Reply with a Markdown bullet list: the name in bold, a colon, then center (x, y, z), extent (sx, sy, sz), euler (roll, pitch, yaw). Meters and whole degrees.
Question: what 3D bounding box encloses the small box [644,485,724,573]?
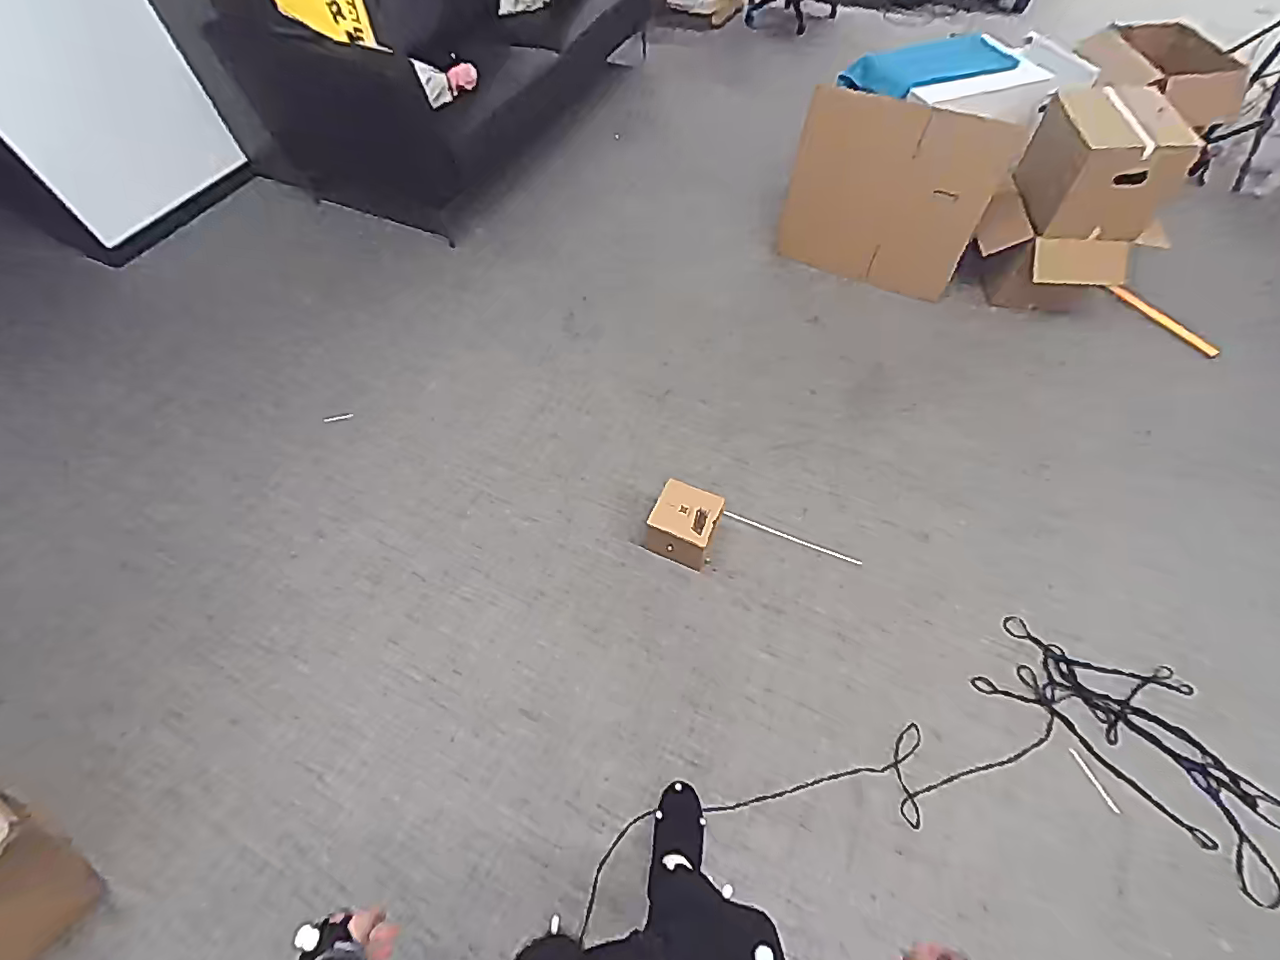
- **small box**: center (0.126, 0.147, 1.554), extent (0.179, 0.176, 0.168), euler (21, 59, 15)
